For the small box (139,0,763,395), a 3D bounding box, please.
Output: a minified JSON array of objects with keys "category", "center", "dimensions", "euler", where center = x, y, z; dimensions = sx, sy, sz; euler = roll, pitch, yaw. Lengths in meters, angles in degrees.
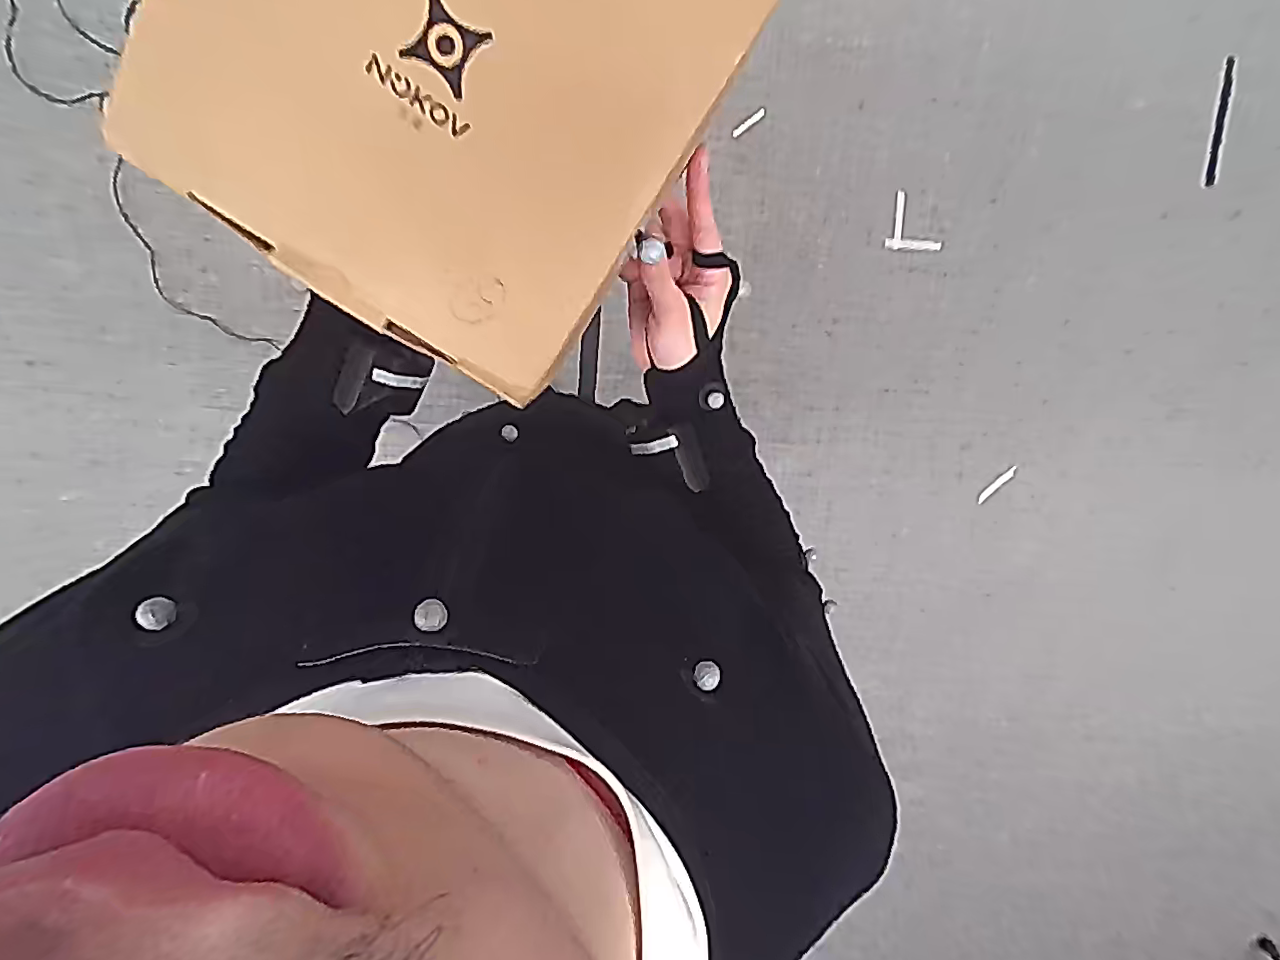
[{"category":"small box","center":[-0.072,-0.169,0.268],"dimensions":[0.168,0.176,0.179],"euler":[31,103,-13]}]
